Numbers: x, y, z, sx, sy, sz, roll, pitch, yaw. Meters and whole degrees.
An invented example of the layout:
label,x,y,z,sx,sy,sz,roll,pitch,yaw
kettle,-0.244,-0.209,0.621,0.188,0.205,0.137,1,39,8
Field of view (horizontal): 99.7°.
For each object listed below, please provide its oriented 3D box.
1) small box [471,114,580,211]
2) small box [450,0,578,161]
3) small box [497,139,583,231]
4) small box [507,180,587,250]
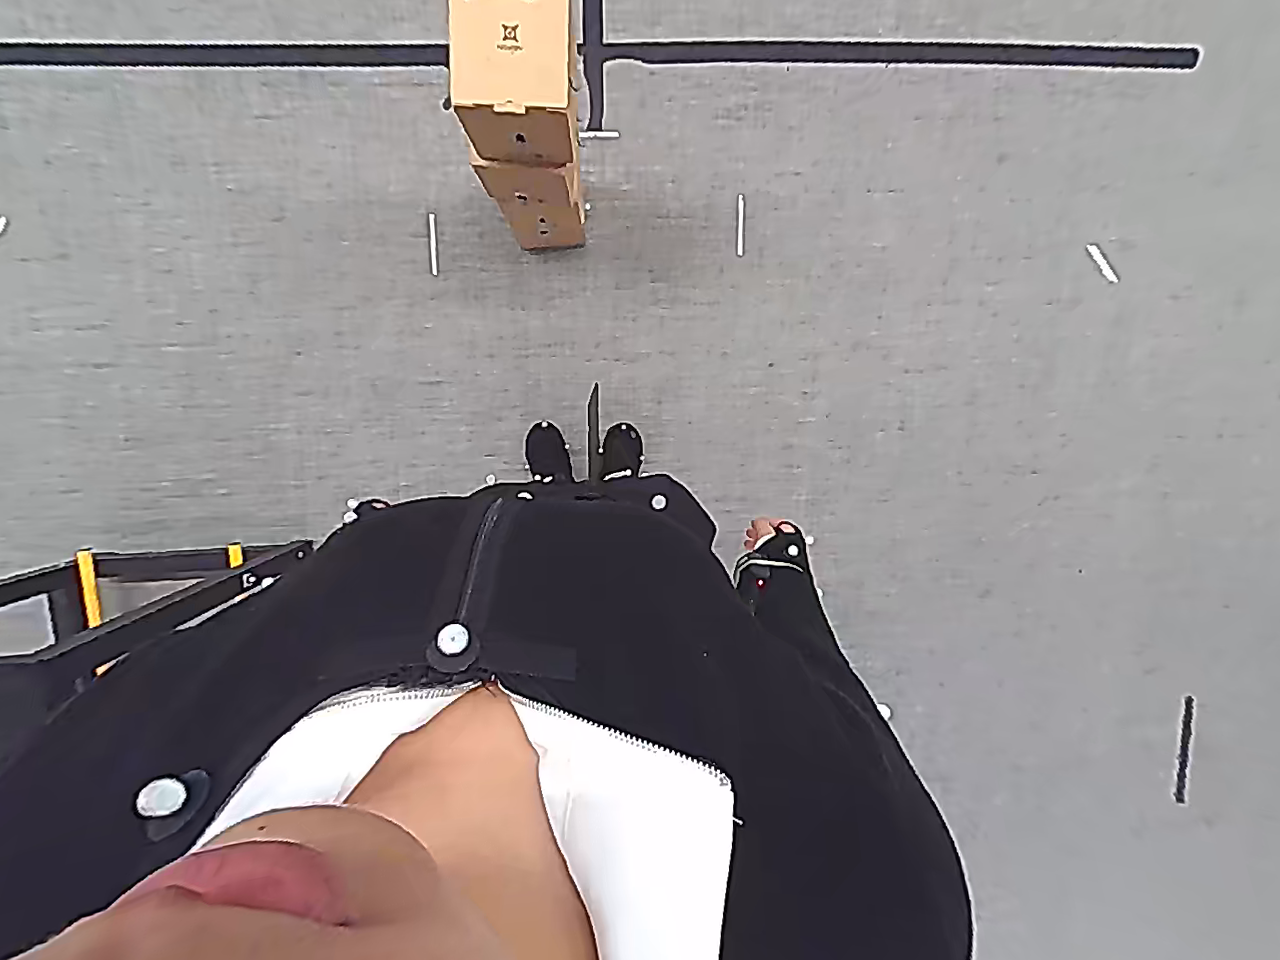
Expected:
label,x,y,z,sx,sy,sz,roll,pitch,yaw
small box,-0.201,-0.620,0.988,0.168,0.176,0.179,5,98,-3
small box,-0.183,-0.614,0.824,0.168,0.176,0.179,2,98,-3
small box,-0.210,-0.648,1.148,0.168,0.176,0.179,-1,98,-3
small box,-0.224,-0.669,1.311,0.179,0.176,0.168,-5,98,-3
